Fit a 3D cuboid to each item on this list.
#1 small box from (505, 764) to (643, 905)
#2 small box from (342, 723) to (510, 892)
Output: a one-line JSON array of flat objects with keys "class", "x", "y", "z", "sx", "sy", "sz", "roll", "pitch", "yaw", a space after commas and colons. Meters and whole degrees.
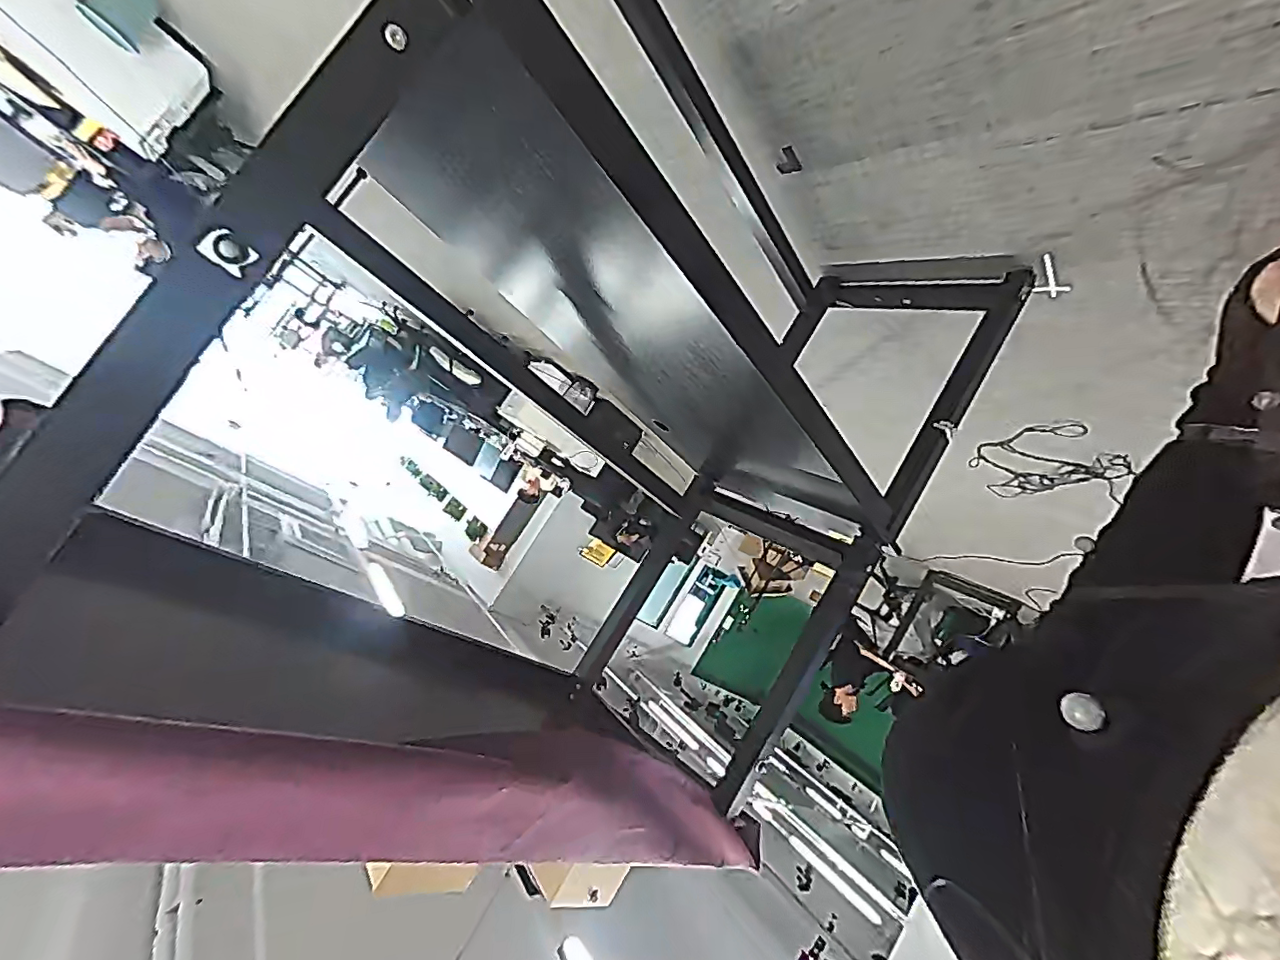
[{"class": "small box", "x": -0.126, "y": 0.683, "z": 1.059, "sx": 0.168, "sy": 0.176, "sz": 0.179, "roll": 38, "pitch": 172, "yaw": -39}, {"class": "small box", "x": -0.342, "y": 0.516, "z": 0.876, "sx": 0.179, "sy": 0.176, "sz": 0.168, "roll": 25, "pitch": 170, "yaw": 48}]
